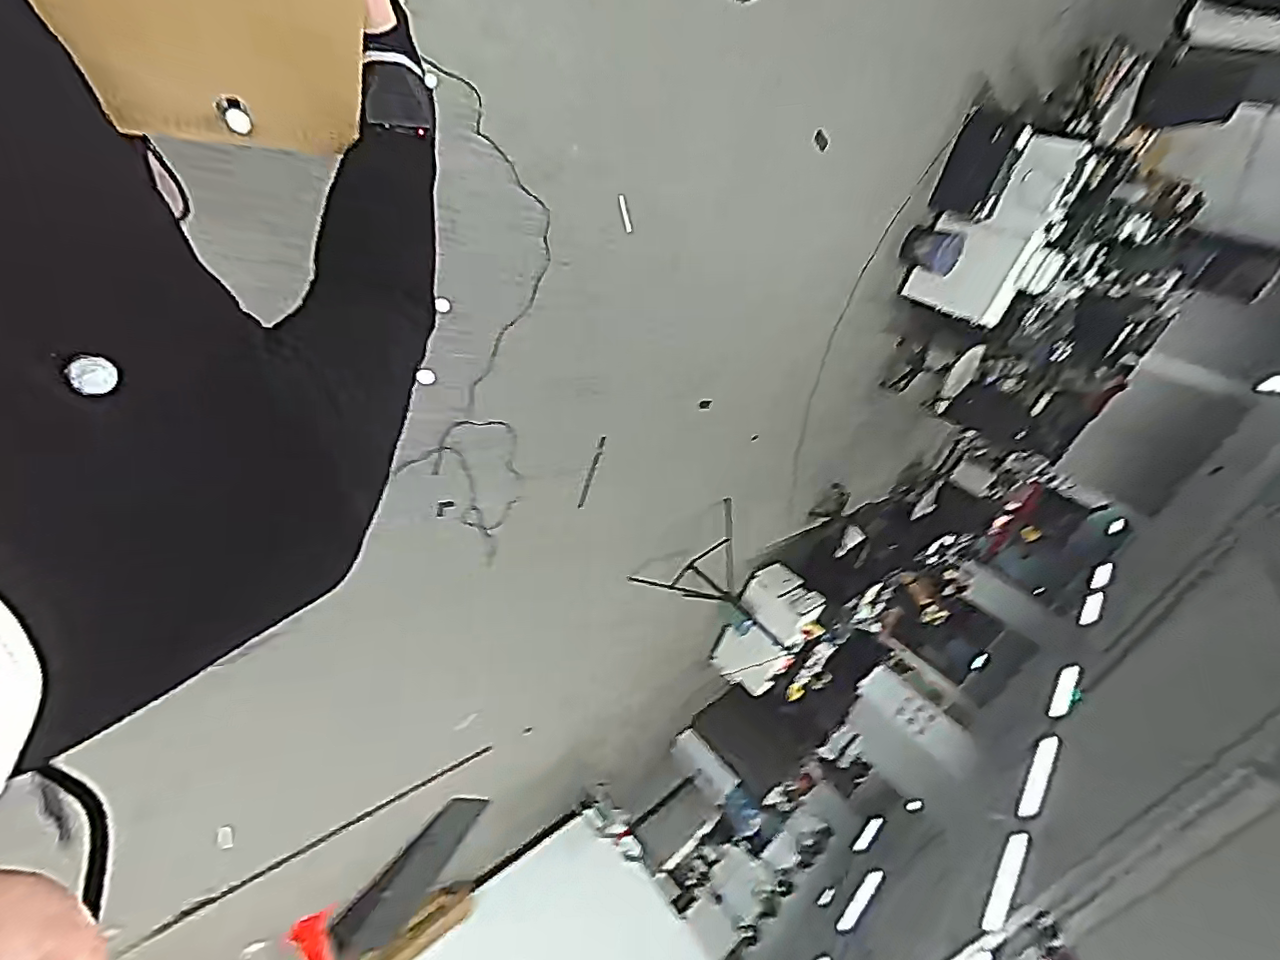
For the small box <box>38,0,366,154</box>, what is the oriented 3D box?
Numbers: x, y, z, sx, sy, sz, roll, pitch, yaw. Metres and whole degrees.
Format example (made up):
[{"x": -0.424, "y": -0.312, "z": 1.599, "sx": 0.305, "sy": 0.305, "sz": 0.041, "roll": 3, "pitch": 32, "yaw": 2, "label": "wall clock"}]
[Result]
[{"x": -0.313, "y": -0.369, "z": 0.388, "sx": 0.179, "sy": 0.176, "sz": 0.168, "roll": -13, "pitch": 88, "yaw": -30, "label": "small box"}]
